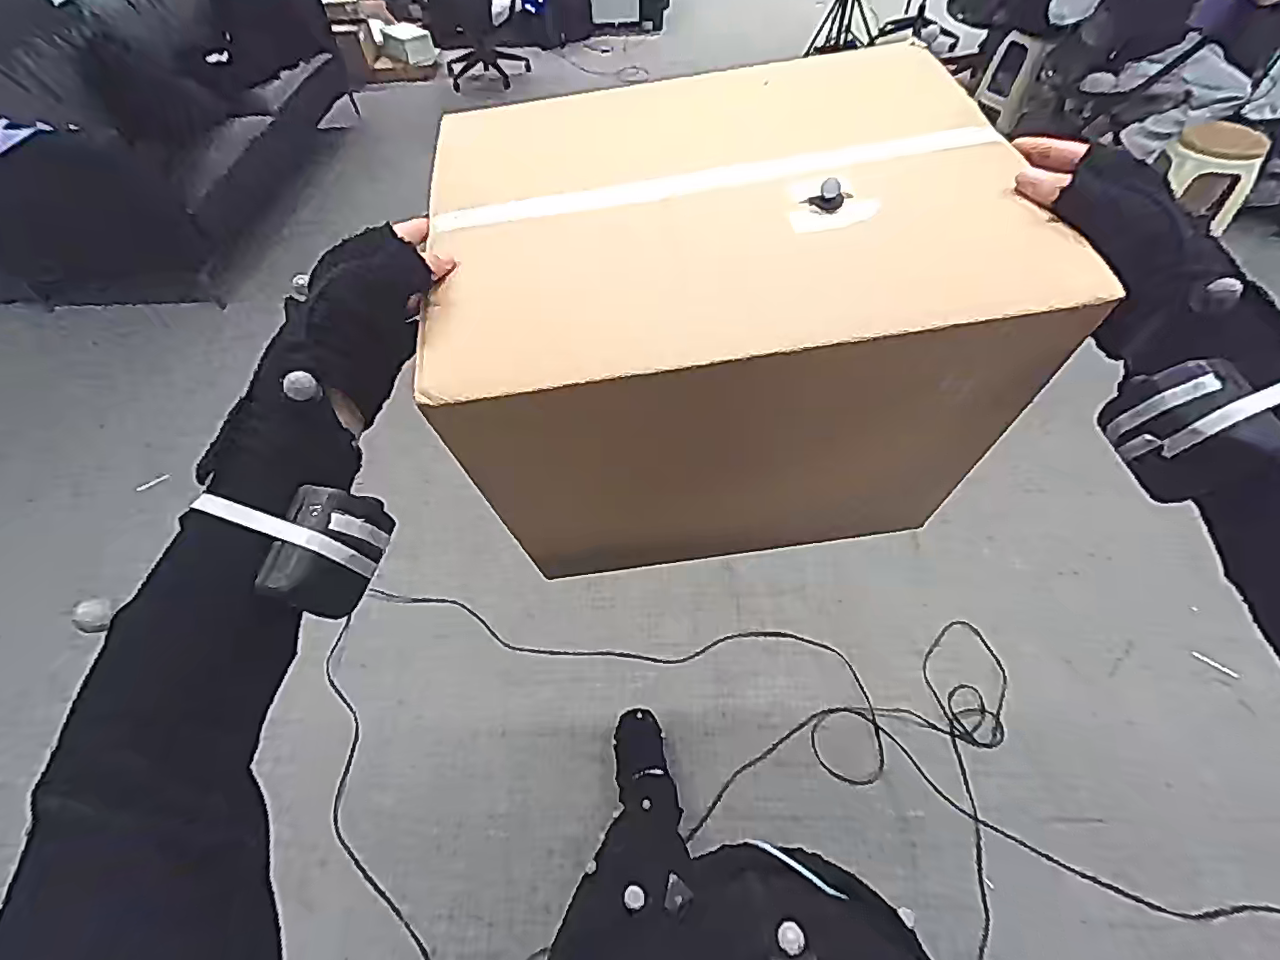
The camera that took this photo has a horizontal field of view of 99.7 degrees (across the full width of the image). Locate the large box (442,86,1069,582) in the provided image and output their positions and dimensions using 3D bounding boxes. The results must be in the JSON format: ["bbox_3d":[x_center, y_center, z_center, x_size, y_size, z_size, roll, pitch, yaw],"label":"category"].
[{"bbox_3d":[0.063,-0.121,0.536,0.408,0.320,0.320,-8,59,0],"label":"large box"}]
